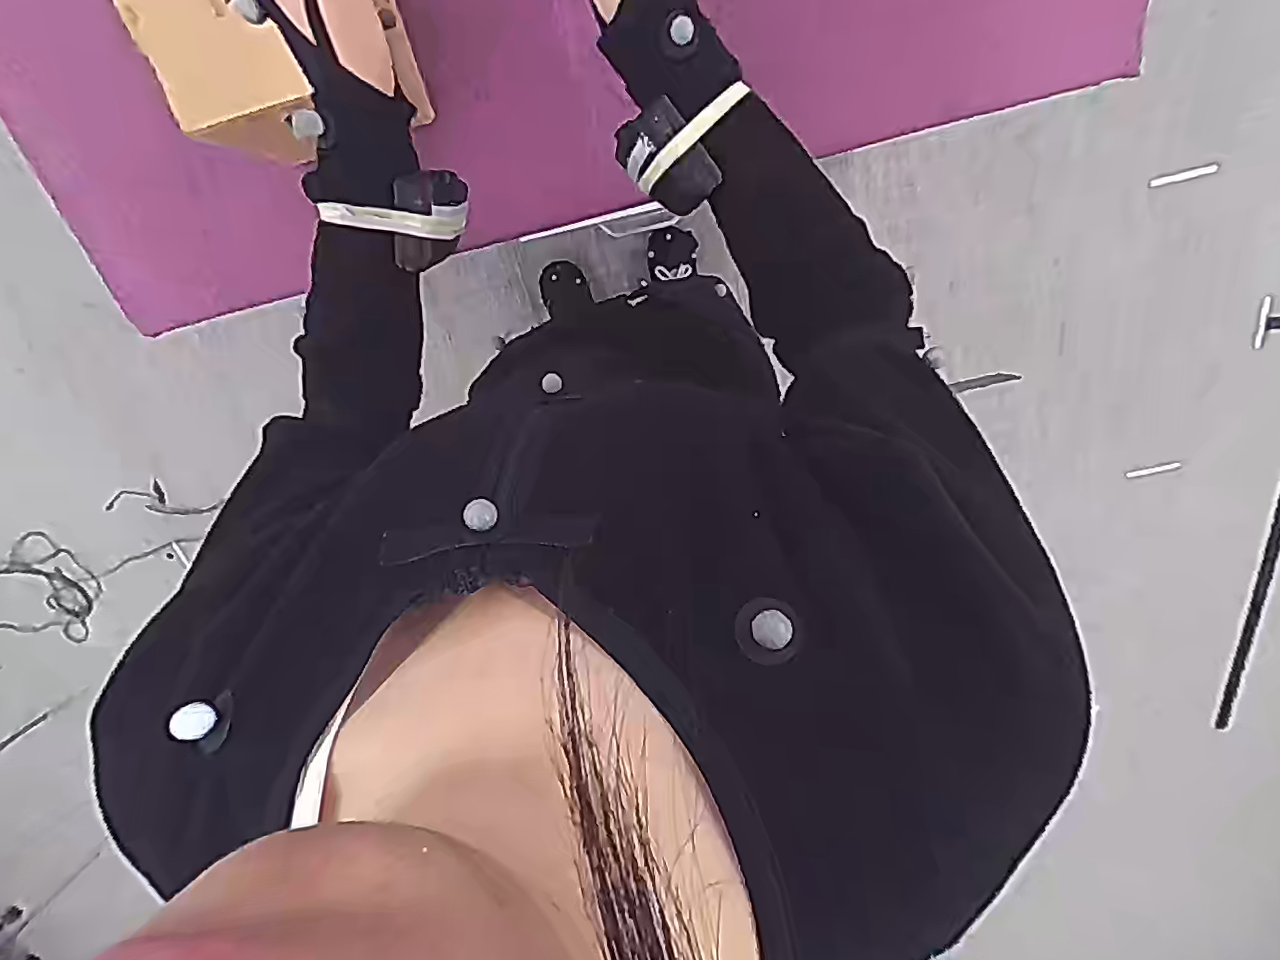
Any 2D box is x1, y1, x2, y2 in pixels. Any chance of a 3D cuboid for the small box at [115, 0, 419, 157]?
[{"bbox_3d":[-0.327,-0.418,0.496,0.179,0.176,0.168,-14,113,5],"label":"small box"}]
